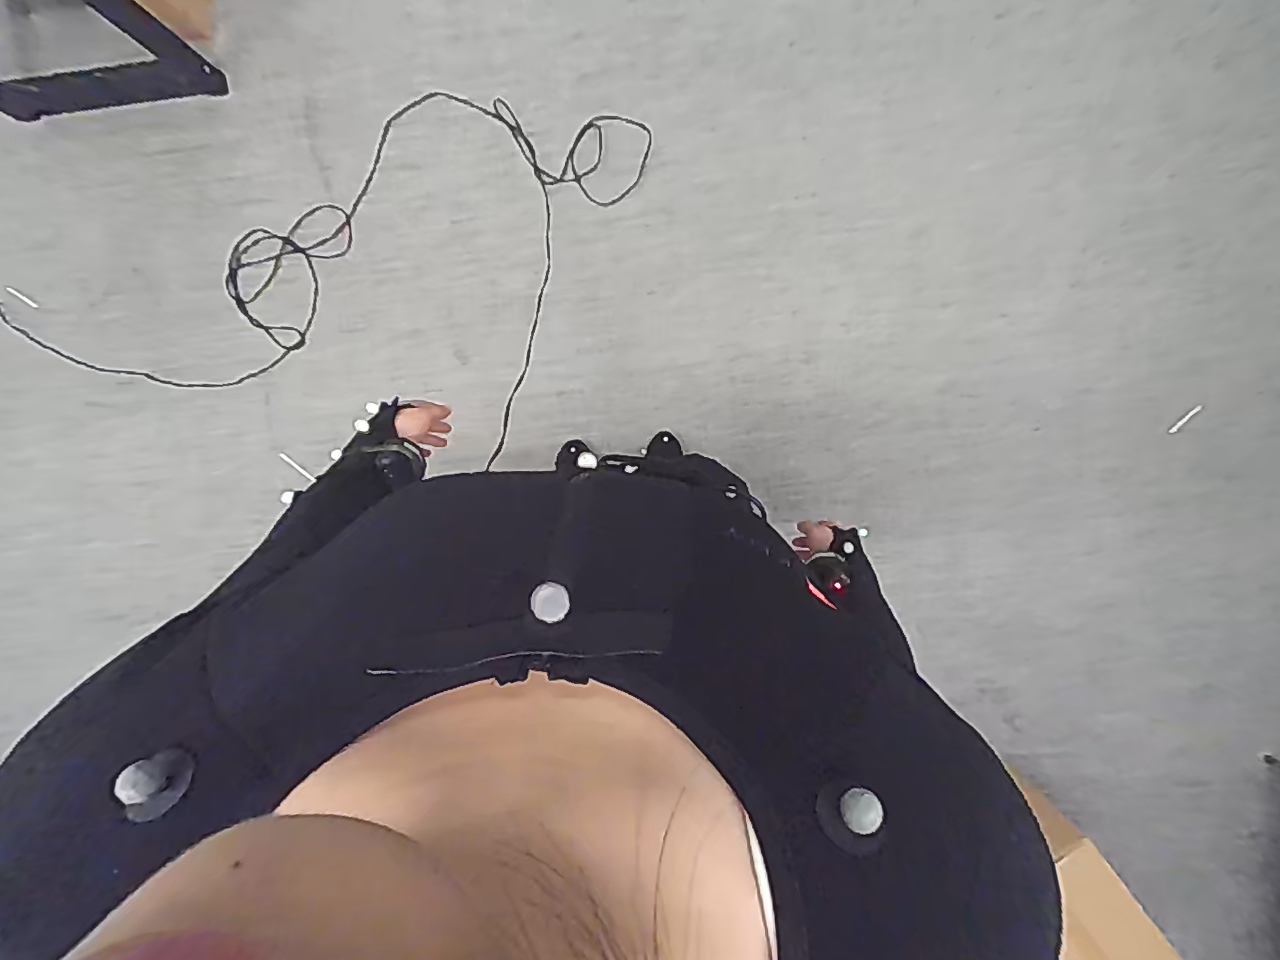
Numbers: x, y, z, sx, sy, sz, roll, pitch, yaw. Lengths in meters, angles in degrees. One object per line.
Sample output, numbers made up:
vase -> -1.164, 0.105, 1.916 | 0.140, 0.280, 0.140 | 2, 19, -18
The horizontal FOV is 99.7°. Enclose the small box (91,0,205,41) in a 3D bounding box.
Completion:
small box -> -1.208, -1.216, 1.319 | 0.179, 0.176, 0.168 | -1, 96, 1
